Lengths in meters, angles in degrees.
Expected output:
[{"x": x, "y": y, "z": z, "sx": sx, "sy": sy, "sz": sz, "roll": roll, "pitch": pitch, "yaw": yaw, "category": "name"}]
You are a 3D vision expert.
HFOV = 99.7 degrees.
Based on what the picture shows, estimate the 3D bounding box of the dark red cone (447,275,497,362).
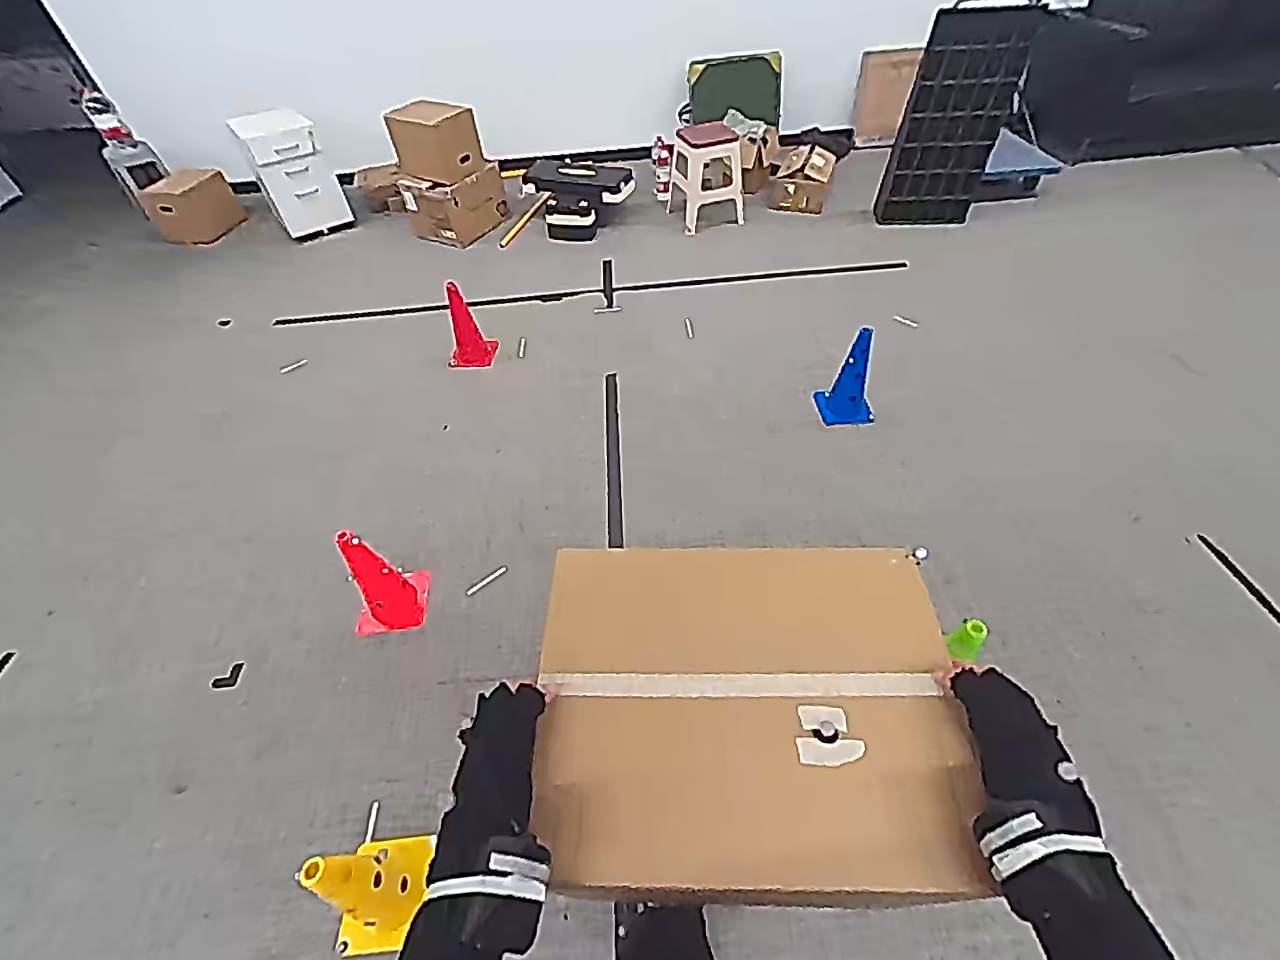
[{"x": -0.786, "y": -0.717, "z": 2.401, "sx": 0.201, "sy": 0.394, "sz": 0.202, "roll": 0, "pitch": 49, "yaw": 3, "category": "dark red cone"}]

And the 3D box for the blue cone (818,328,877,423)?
[{"x": 0.816, "y": -0.404, "z": 2.045, "sx": 0.192, "sy": 0.380, "sz": 0.193, "roll": -2, "pitch": 48, "yaw": 1, "category": "blue cone"}]

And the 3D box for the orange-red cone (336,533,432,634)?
[{"x": -0.768, "y": 0.269, "z": 1.554, "sx": 0.198, "sy": 0.360, "sz": 0.199, "roll": -8, "pitch": 50, "yaw": -1, "category": "orange-red cone"}]

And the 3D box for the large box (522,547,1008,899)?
[{"x": 0.103, "y": 0.294, "z": 0.645, "sx": 0.408, "sy": 0.320, "sz": 0.320, "roll": 0, "pitch": 50, "yaw": 2, "category": "large box"}]
